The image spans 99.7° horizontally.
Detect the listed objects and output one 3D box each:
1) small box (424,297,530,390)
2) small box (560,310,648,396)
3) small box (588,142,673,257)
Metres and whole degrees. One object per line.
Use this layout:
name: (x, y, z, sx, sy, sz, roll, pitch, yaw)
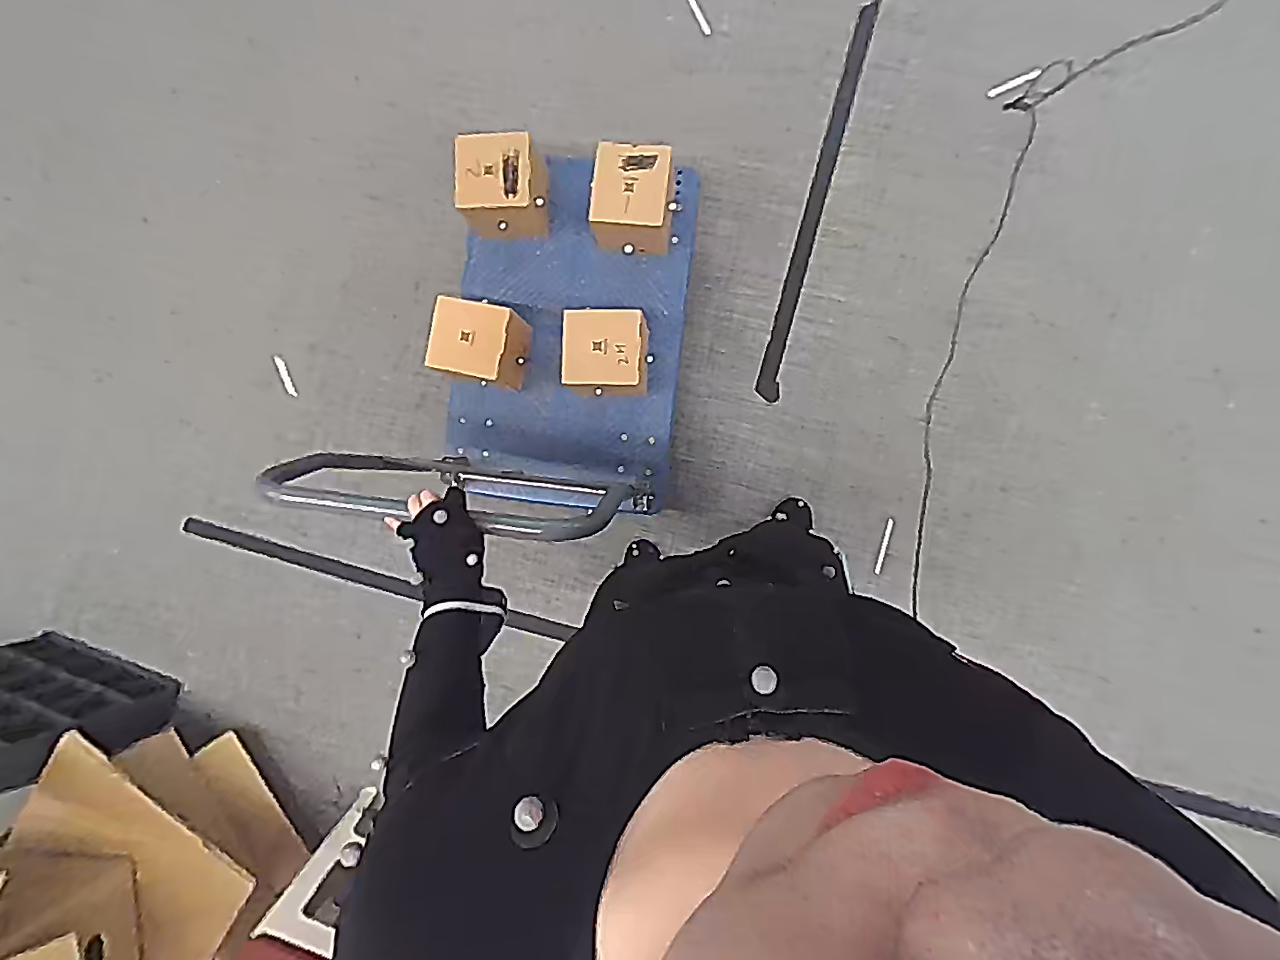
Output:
small box: (-0.383, -0.319, 1.297, 0.179, 0.176, 0.168, 11, 91, 4)
small box: (-0.079, -0.289, 1.263, 0.179, 0.176, 0.168, 2, 91, 6)
small box: (-0.015, -0.643, 1.254, 0.168, 0.176, 0.179, 8, 92, 6)
